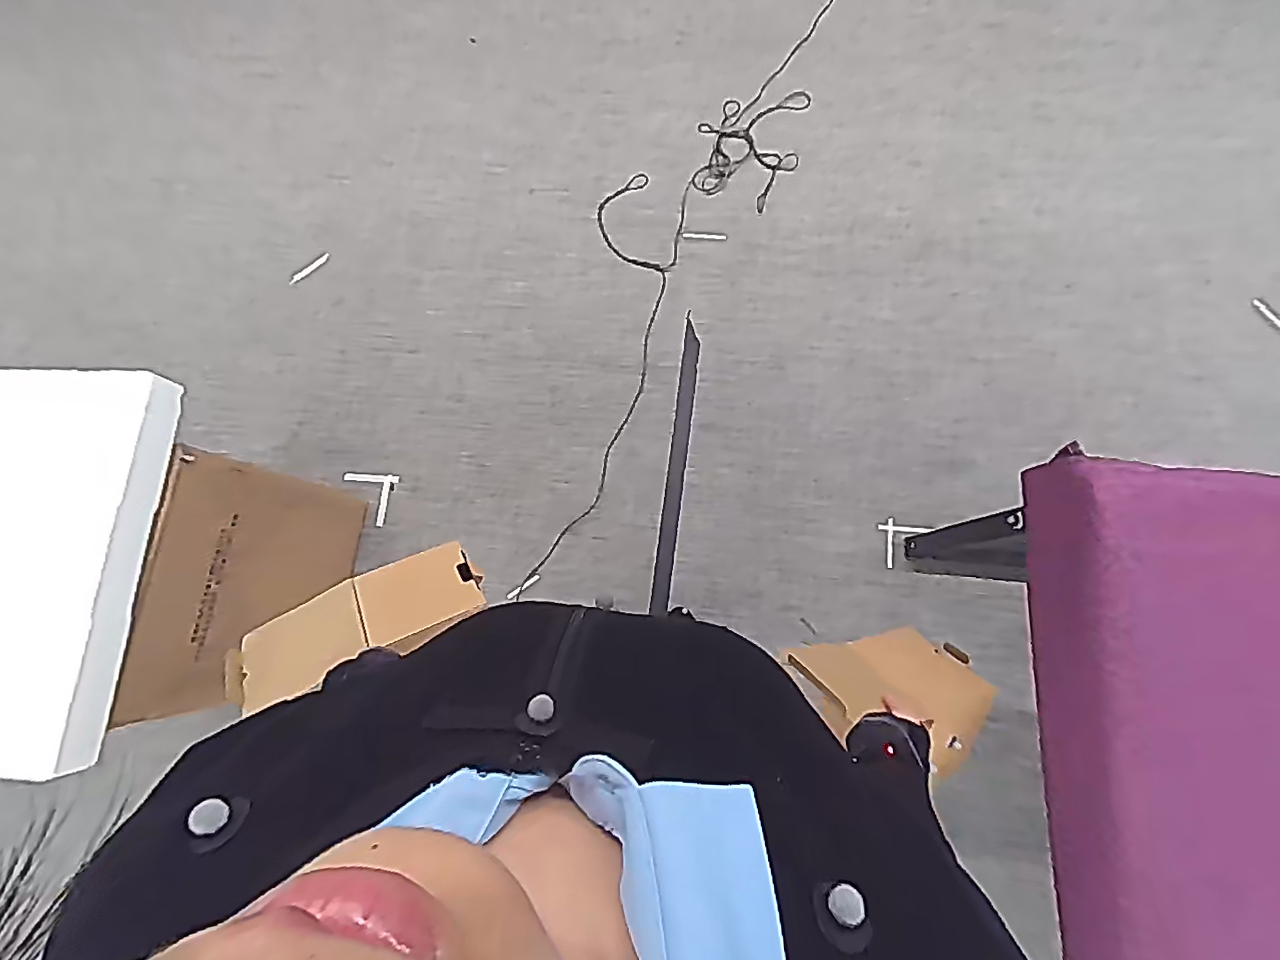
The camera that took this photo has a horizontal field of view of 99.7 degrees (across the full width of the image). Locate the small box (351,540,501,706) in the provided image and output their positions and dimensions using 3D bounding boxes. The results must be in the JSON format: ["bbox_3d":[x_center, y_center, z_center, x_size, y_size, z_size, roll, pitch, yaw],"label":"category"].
[{"bbox_3d":[-0.350,0.238,0.900,0.179,0.176,0.168,-21,43,-23],"label":"small box"}]
